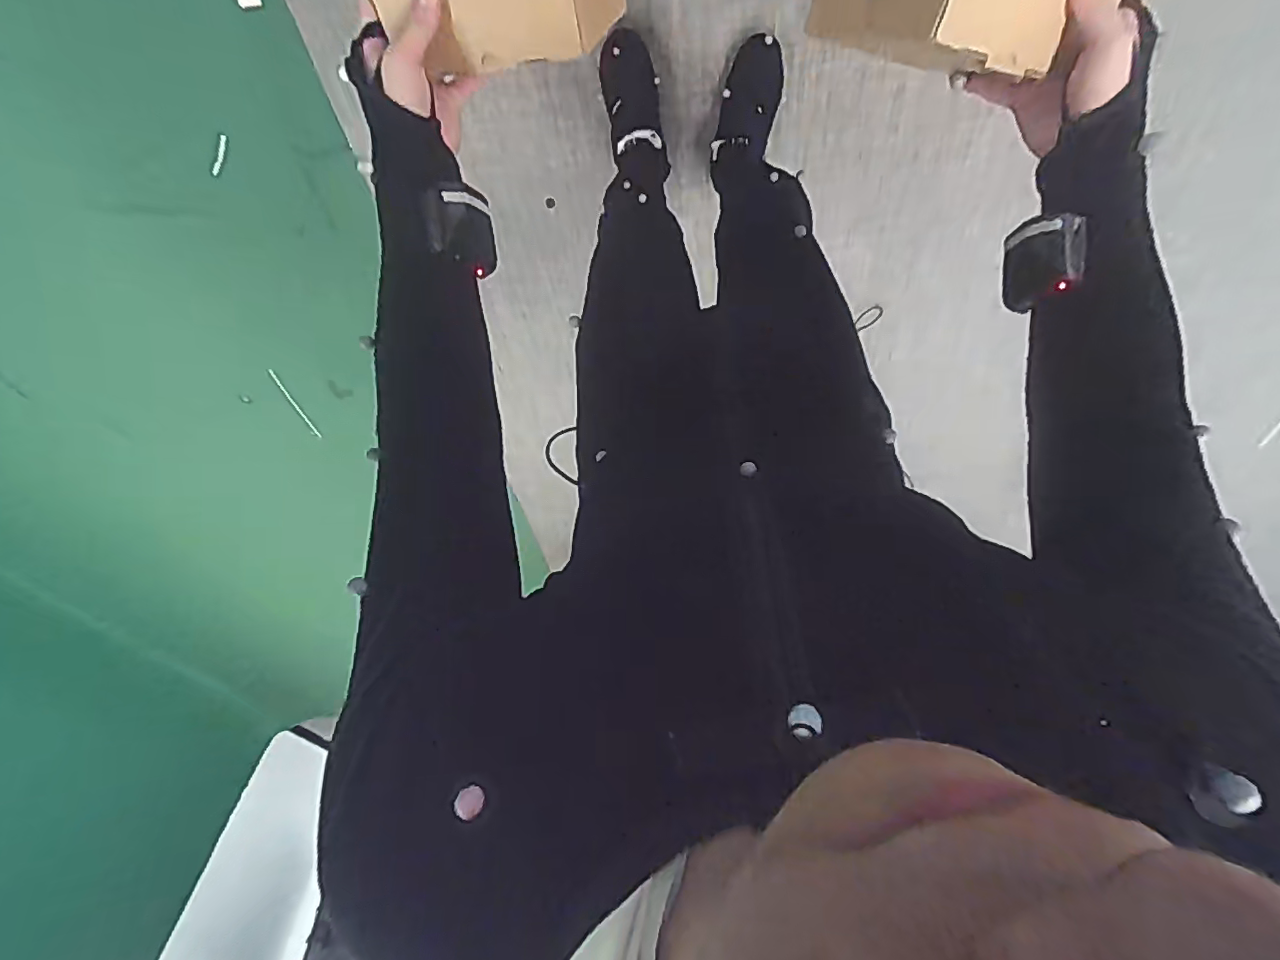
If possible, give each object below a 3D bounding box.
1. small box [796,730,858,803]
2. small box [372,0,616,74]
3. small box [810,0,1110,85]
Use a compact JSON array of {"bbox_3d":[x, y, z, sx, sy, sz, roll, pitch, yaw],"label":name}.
[{"bbox_3d":[0.606,0.938,1.773,0.168,0.176,0.179,-3,136,10],"label":"small box"},{"bbox_3d":[-0.124,-0.464,0.437,0.168,0.176,0.179,3,141,13],"label":"small box"},{"bbox_3d":[0.259,-0.435,0.418,0.168,0.176,0.179,-4,129,-23],"label":"small box"}]
